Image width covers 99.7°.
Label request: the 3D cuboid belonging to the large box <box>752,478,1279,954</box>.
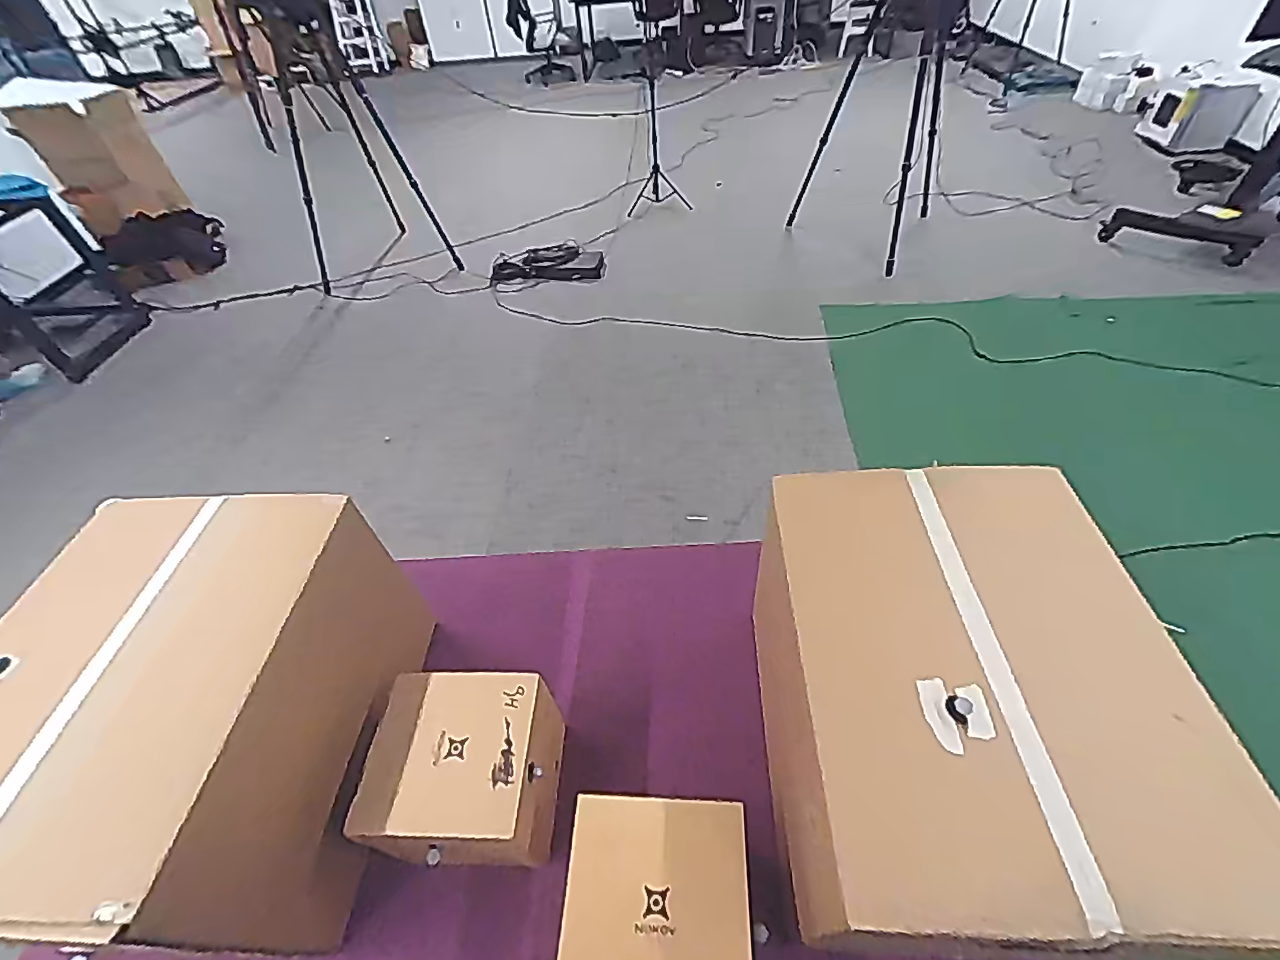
[{"bbox_3d":[0.312,0.246,0.595,0.320,0.320,0.408,-1,48,5],"label":"large box"}]
